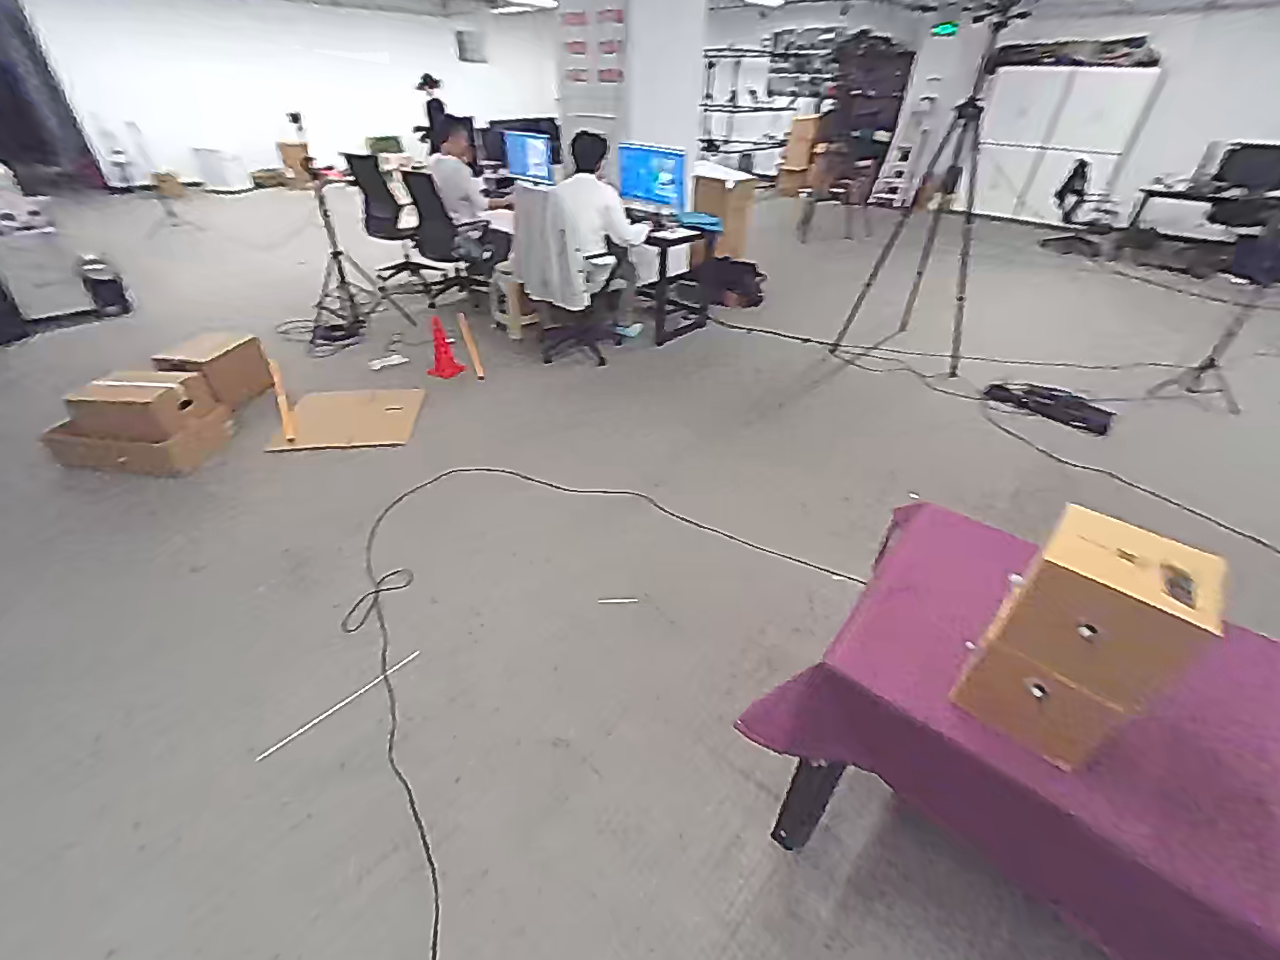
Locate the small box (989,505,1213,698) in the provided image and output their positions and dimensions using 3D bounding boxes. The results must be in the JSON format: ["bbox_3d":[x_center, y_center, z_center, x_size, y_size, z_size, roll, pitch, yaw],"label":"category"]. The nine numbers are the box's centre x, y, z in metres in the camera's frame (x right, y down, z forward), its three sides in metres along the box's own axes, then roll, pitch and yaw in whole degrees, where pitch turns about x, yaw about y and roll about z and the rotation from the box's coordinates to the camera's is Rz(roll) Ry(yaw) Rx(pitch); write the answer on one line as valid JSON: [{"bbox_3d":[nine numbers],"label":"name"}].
[{"bbox_3d":[0.630,0.171,0.753,0.179,0.176,0.168,29,44,34],"label":"small box"}]

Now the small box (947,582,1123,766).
[{"bbox_3d":[0.620,0.302,0.851,0.179,0.176,0.168,31,45,33],"label":"small box"}]
